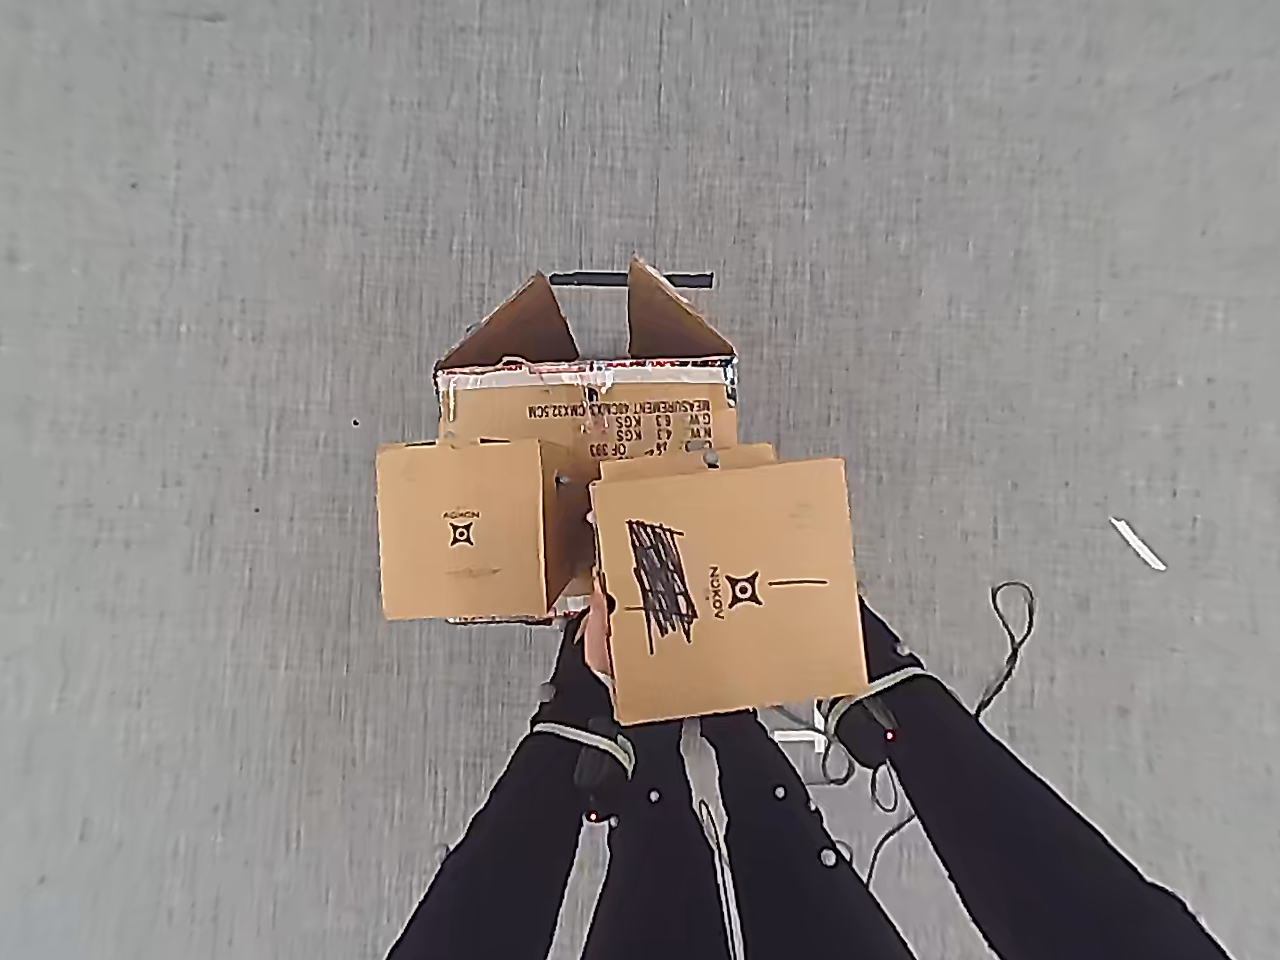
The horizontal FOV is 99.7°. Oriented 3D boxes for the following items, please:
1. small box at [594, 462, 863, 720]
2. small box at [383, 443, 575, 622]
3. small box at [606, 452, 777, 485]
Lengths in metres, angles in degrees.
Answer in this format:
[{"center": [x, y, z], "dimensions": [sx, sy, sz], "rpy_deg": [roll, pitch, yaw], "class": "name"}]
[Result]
[{"center": [0.060, 0.077, 0.456], "dimensions": [0.179, 0.176, 0.168], "rpy_deg": [-7, 91, -3], "class": "small box"}, {"center": [-0.171, 0.052, 0.620], "dimensions": [0.168, 0.176, 0.179], "rpy_deg": [-3, 92, 2], "class": "small box"}, {"center": [0.055, 0.058, 0.620], "dimensions": [0.179, 0.176, 0.168], "rpy_deg": [-7, 90, -2], "class": "small box"}]
